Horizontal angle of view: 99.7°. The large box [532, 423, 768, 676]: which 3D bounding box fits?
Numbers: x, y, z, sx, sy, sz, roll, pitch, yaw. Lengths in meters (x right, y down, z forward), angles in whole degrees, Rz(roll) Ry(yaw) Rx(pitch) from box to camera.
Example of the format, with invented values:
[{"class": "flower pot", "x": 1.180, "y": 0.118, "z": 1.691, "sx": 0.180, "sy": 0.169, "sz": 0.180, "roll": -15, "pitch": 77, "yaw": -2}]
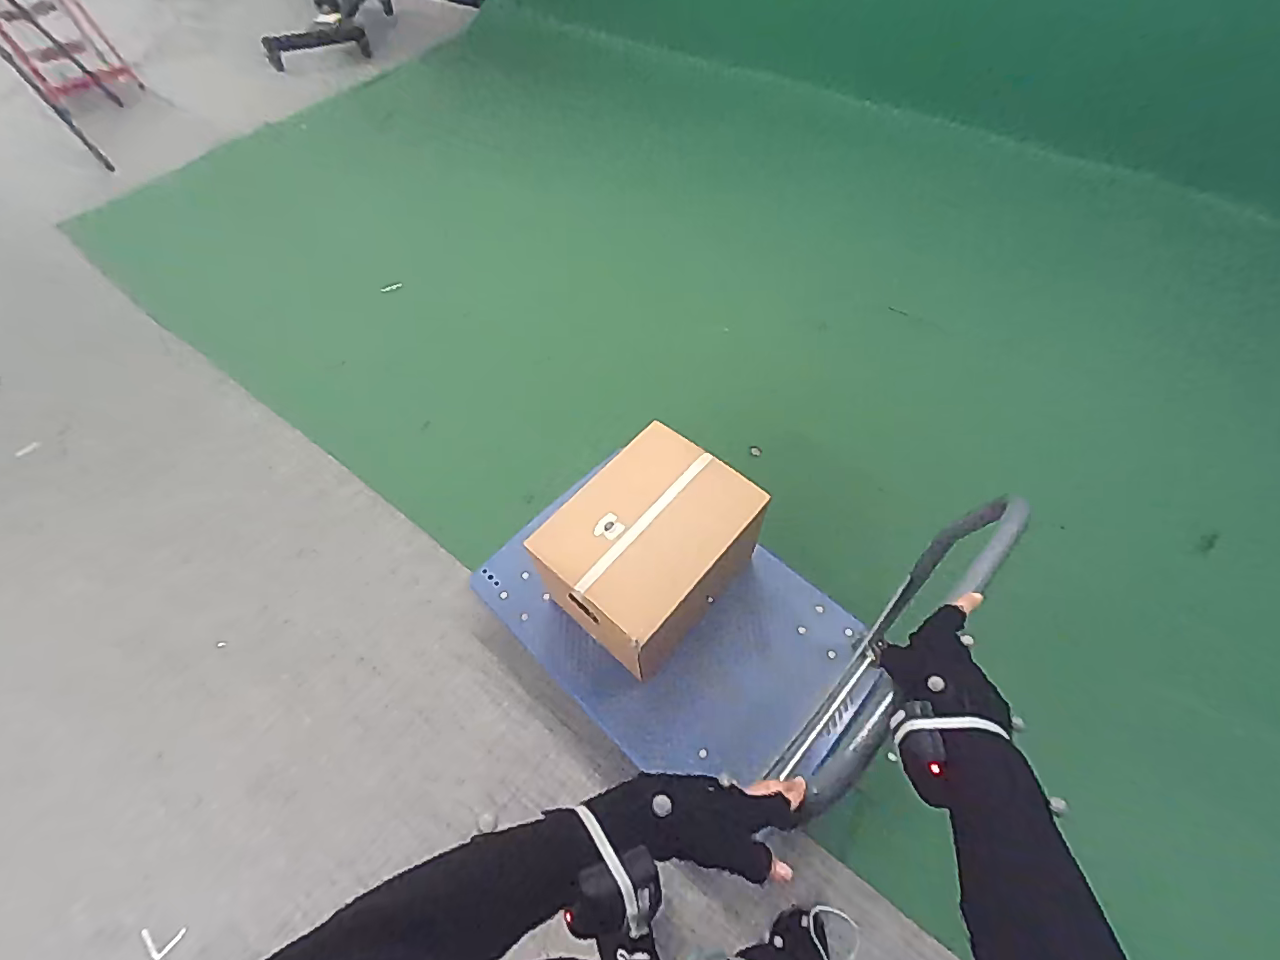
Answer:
[{"class": "large box", "x": 0.030, "y": 0.159, "z": 1.215, "sx": 0.320, "sy": 0.320, "sz": 0.408, "roll": 36, "pitch": 67, "yaw": 22}]
